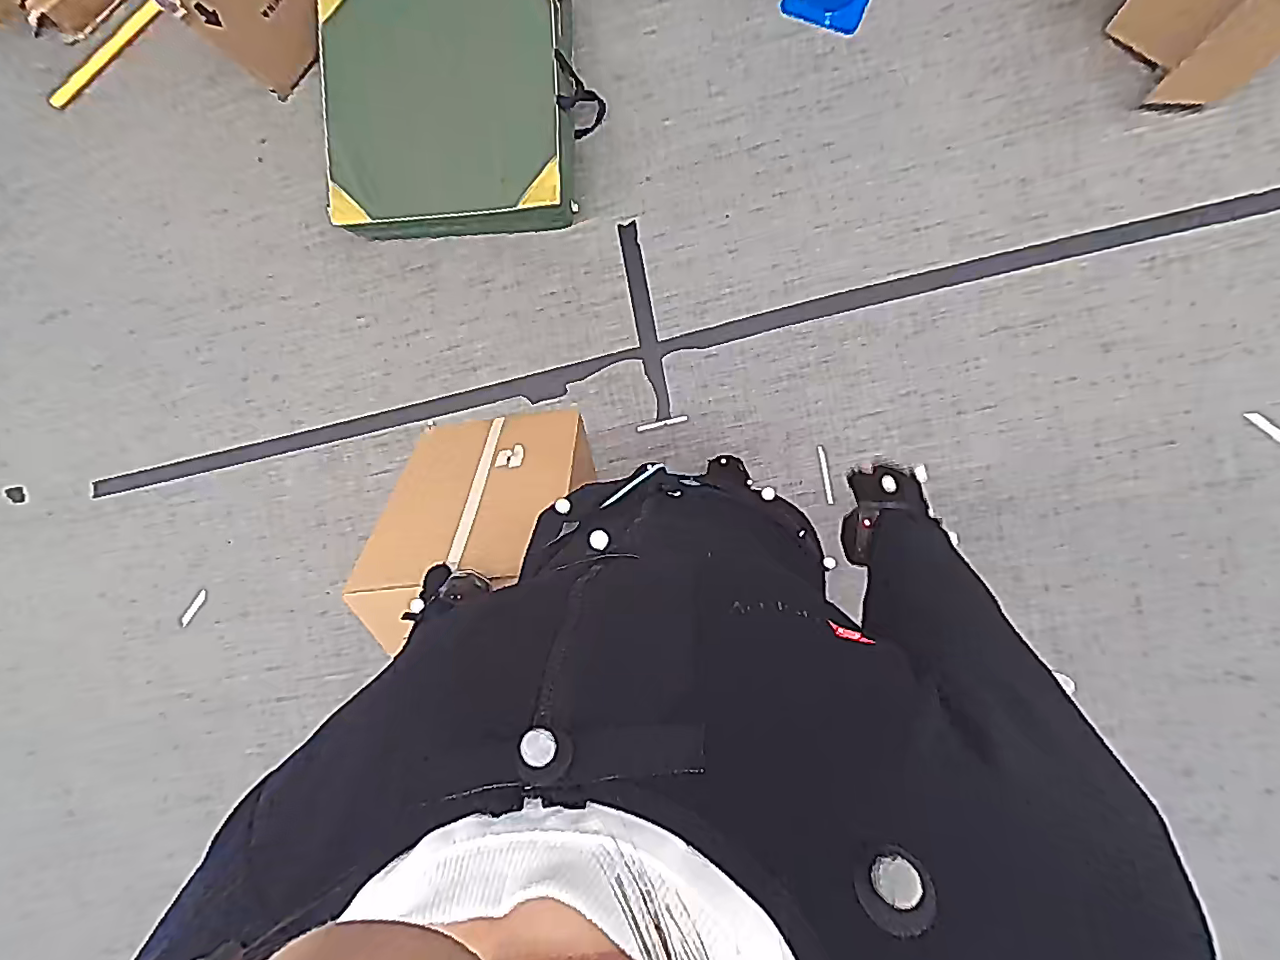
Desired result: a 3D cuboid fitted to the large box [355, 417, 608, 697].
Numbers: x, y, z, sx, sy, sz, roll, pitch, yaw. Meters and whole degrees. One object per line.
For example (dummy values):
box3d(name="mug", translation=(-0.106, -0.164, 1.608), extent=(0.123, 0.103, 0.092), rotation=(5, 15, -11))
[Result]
box3d(name="large box", translation=(-0.243, 0.135, 1.010), extent=(0.320, 0.408, 0.320), rotation=(-6, 130, 6))
